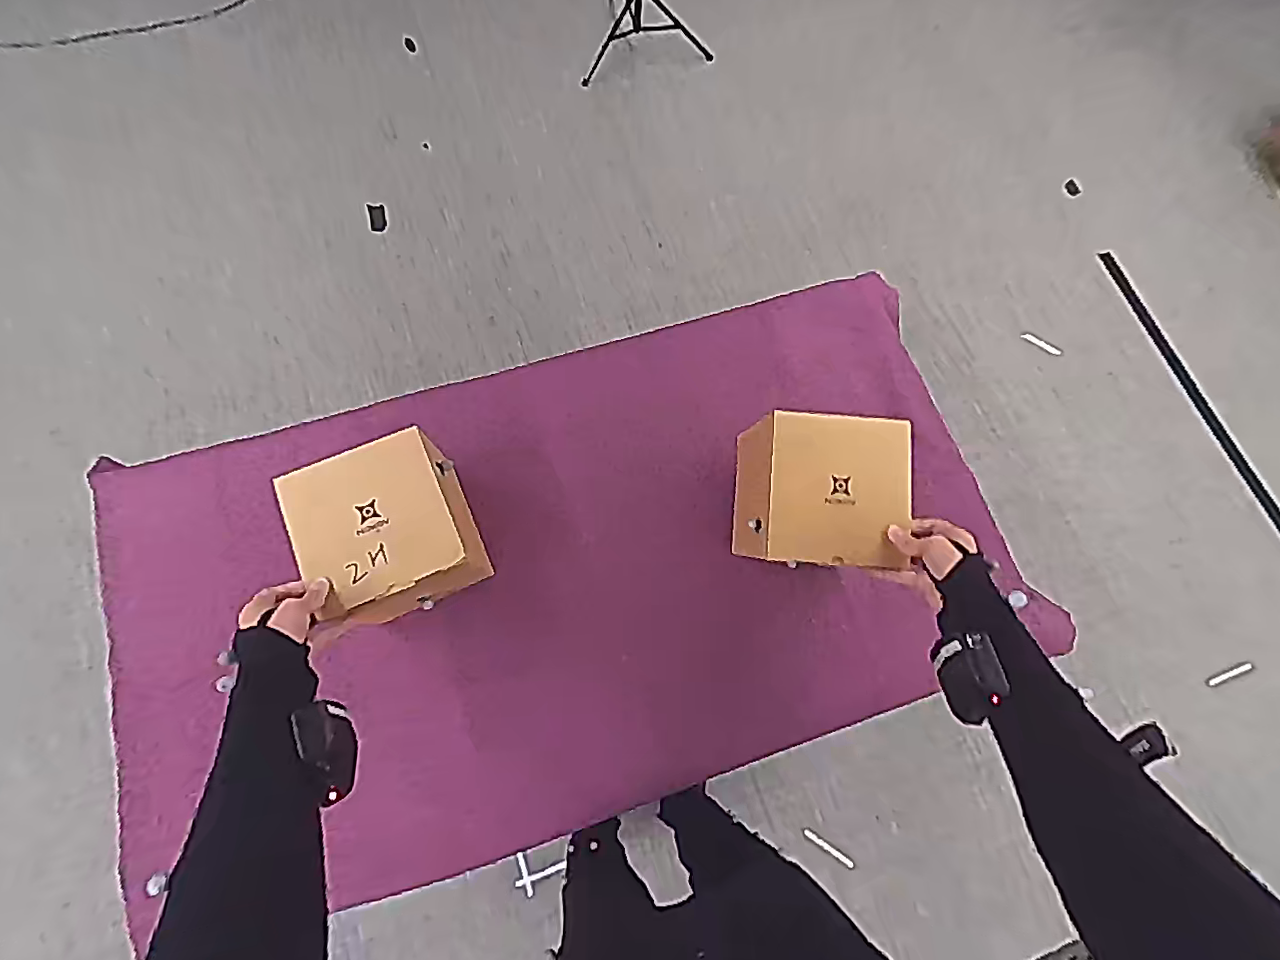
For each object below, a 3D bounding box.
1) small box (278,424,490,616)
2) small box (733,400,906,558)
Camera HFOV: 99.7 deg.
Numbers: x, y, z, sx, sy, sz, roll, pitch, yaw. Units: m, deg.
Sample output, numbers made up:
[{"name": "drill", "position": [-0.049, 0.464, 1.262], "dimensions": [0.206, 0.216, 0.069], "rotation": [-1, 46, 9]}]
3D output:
[{"name": "small box", "position": [-0.307, 0.059, 0.681], "dimensions": [0.168, 0.176, 0.179], "rotation": [-23, 78, -10]}, {"name": "small box", "position": [0.220, 0.006, 0.702], "dimensions": [0.168, 0.176, 0.179], "rotation": [3, 85, -3]}]
